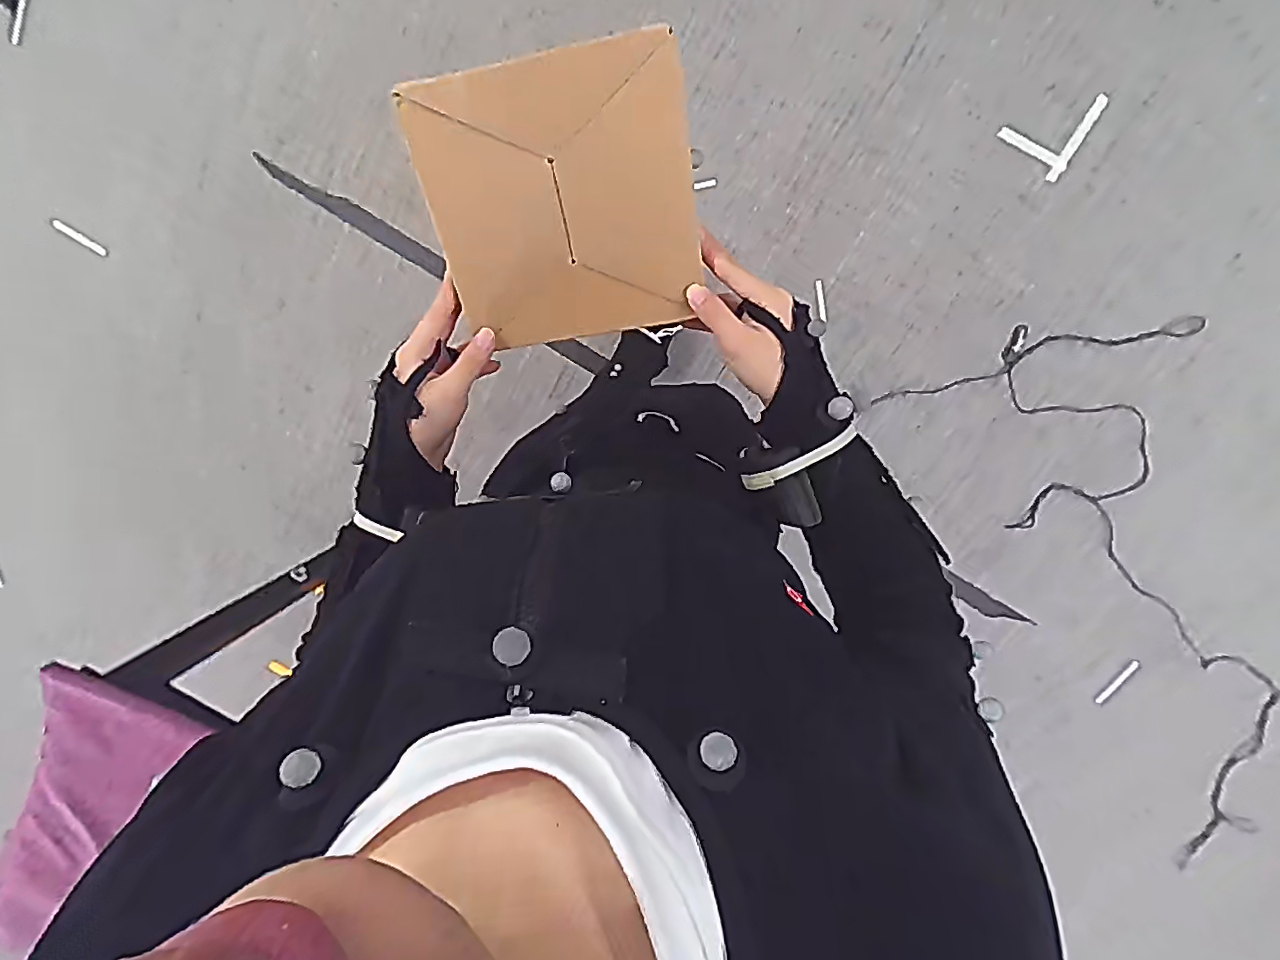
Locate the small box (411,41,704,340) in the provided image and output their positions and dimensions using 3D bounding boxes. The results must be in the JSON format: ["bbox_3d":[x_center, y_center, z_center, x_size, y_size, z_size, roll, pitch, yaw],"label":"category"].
[{"bbox_3d":[-0.049,-0.221,0.429,0.179,0.176,0.168,-7,122,6],"label":"small box"}]
